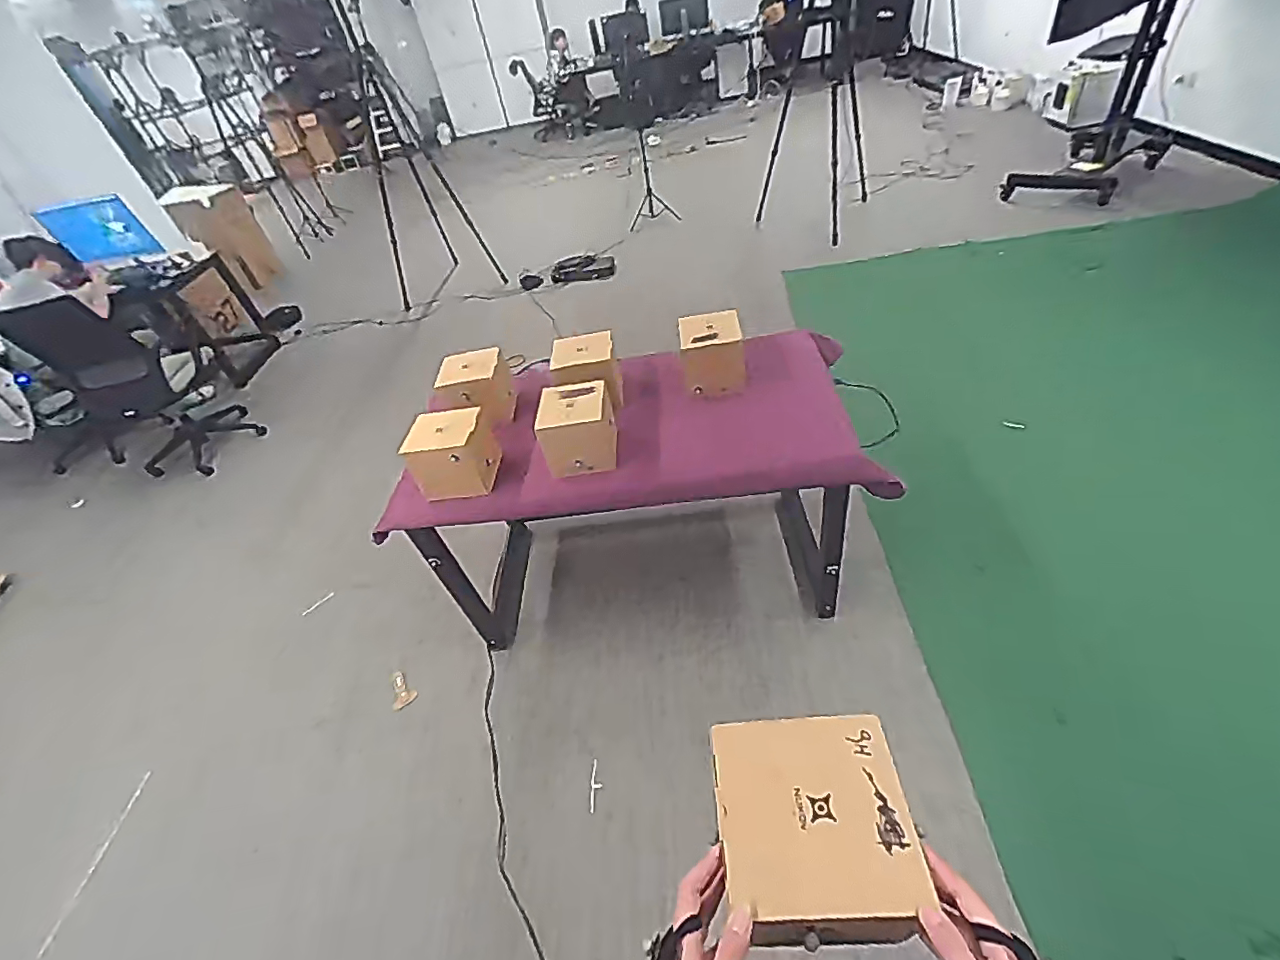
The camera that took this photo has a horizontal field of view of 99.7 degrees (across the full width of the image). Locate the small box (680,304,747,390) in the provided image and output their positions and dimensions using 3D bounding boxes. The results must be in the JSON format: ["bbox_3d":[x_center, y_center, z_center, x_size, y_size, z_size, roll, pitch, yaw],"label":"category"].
[{"bbox_3d":[0.207,-0.367,1.522,0.168,0.176,0.179,-7,43,8],"label":"small box"}]

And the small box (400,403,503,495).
[{"bbox_3d":[-0.481,-0.077,1.403,0.179,0.176,0.168,-6,42,7],"label":"small box"}]

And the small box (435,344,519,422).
[{"bbox_3d":[-0.478,-0.279,1.611,0.179,0.176,0.168,-9,44,5],"label":"small box"}]

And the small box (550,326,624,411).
[{"bbox_3d":[-0.145,-0.321,1.571,0.179,0.176,0.168,-9,43,7],"label":"small box"}]
